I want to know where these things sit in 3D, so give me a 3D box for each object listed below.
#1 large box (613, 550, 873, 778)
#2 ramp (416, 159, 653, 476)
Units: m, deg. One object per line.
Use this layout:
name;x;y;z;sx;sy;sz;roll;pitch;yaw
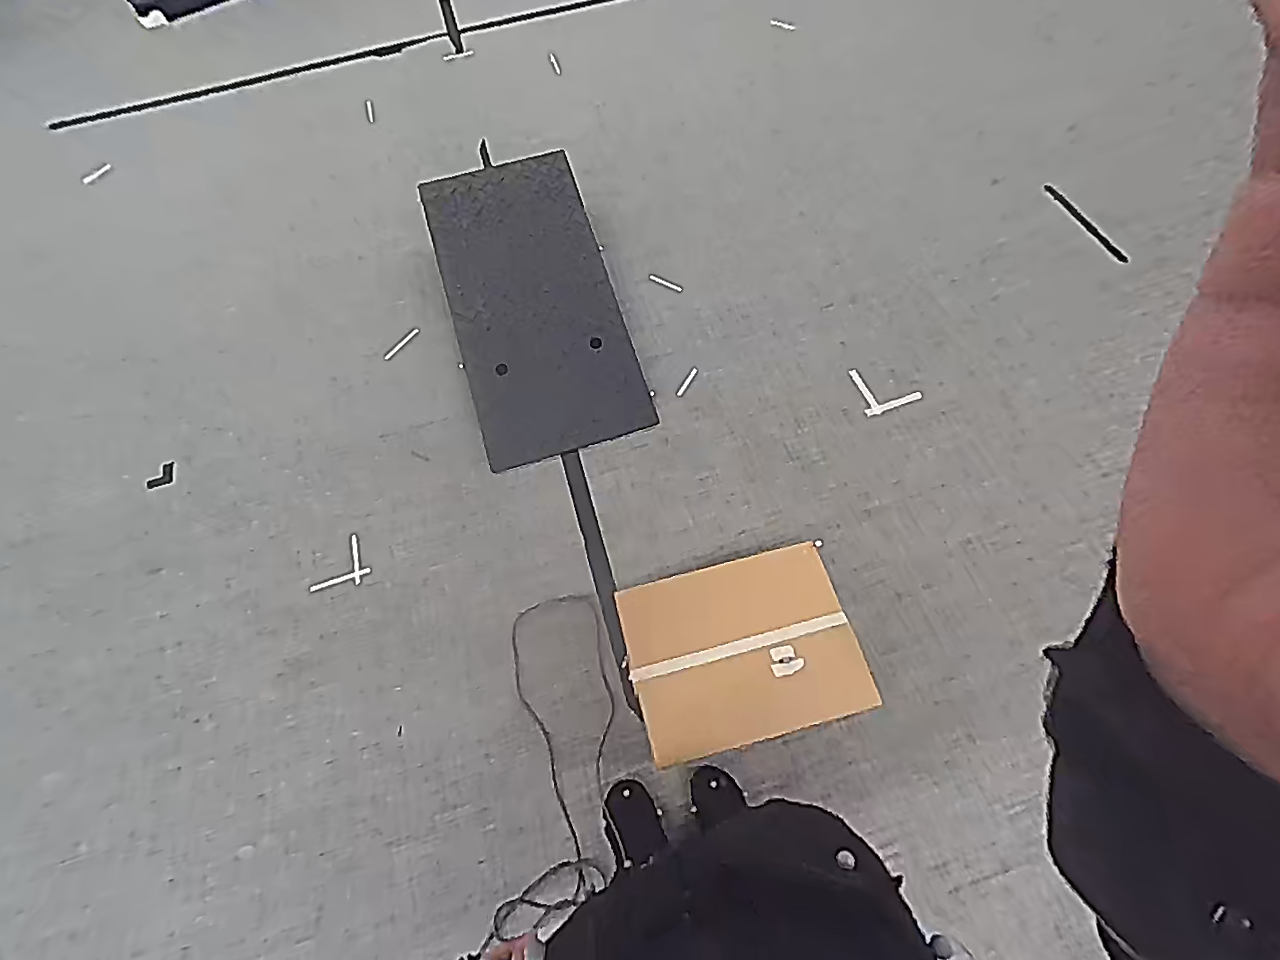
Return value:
large box;0.180;0.384;1.114;0.408;0.320;0.320;-14;65;-5
ramp;-0.337;-0.531;1.642;0.509;0.206;0.991;-18;66;-7
